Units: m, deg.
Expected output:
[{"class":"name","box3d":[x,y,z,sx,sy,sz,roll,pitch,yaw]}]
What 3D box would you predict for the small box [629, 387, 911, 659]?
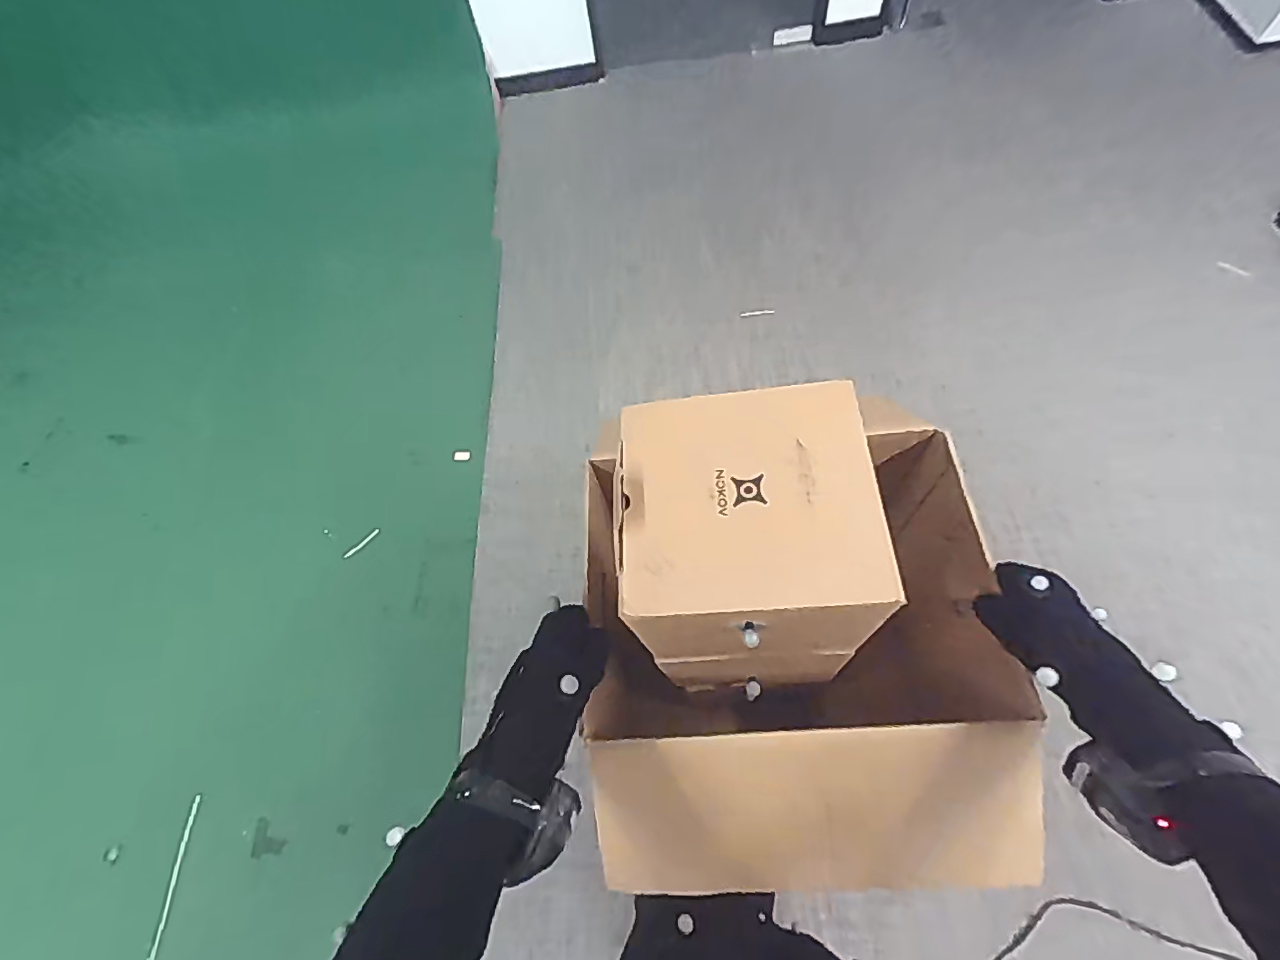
[{"class":"small box","box3d":[0.093,0.047,0.448,0.179,0.176,0.168,-6,62,7]}]
